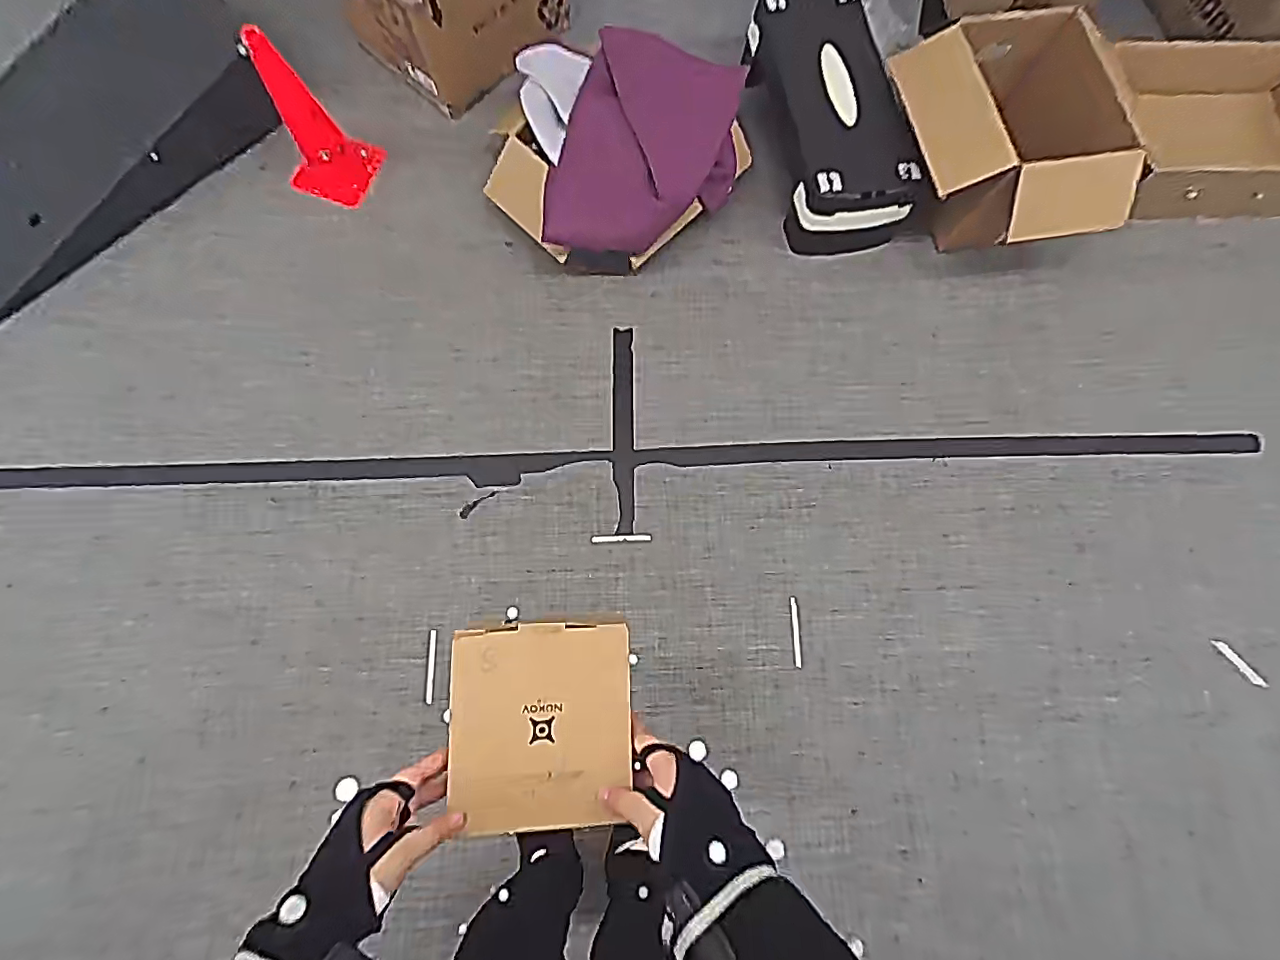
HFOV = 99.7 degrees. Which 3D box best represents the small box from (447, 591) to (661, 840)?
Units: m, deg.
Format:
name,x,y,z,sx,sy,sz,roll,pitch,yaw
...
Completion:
name,x,y,z,sx,sy,sz,roll,pitch,yaw
small box,-0.077,0.196,0.505,0.168,0.176,0.179,-2,81,-7
